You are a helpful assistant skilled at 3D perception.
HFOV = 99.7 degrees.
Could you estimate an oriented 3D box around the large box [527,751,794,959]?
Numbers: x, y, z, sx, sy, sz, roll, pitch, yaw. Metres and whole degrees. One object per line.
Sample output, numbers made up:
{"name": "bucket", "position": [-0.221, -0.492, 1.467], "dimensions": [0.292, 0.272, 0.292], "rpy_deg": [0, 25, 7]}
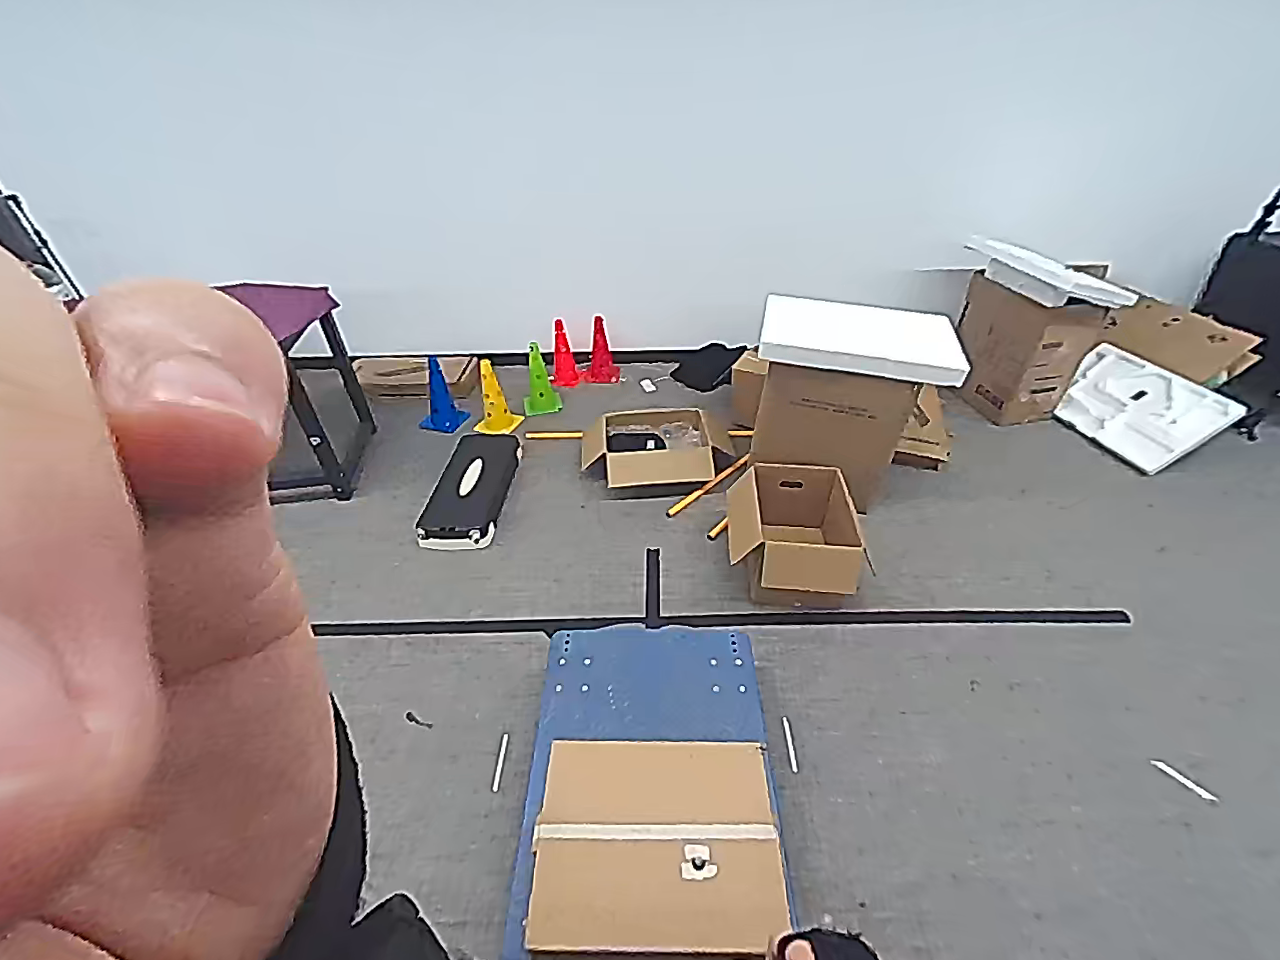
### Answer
{"name": "large box", "position": [0.027, 0.728, 1.000], "dimensions": [0.408, 0.320, 0.320], "rpy_deg": [1, 39, 0]}
